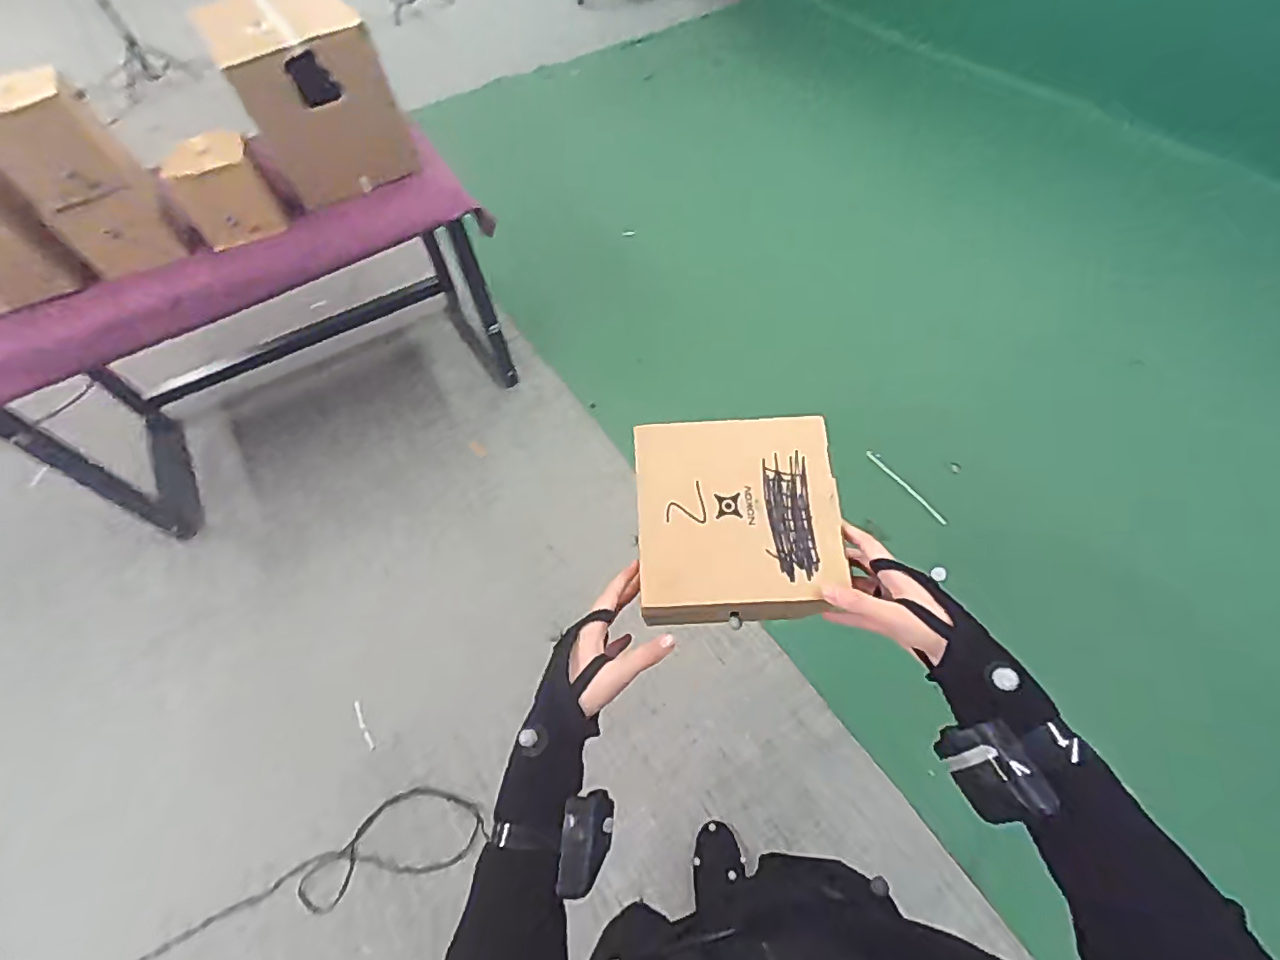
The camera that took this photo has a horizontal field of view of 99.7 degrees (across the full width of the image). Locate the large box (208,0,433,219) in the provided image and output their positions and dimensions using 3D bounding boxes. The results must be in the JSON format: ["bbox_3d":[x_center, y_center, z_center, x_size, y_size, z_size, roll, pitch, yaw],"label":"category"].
[{"bbox_3d":[-0.783,-0.936,1.356,0.320,0.320,0.408,-31,62,-13],"label":"large box"}]

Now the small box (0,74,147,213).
[{"bbox_3d":[-1.153,-0.677,1.094,0.168,0.176,0.179,-29,61,-14],"label":"small box"}]
